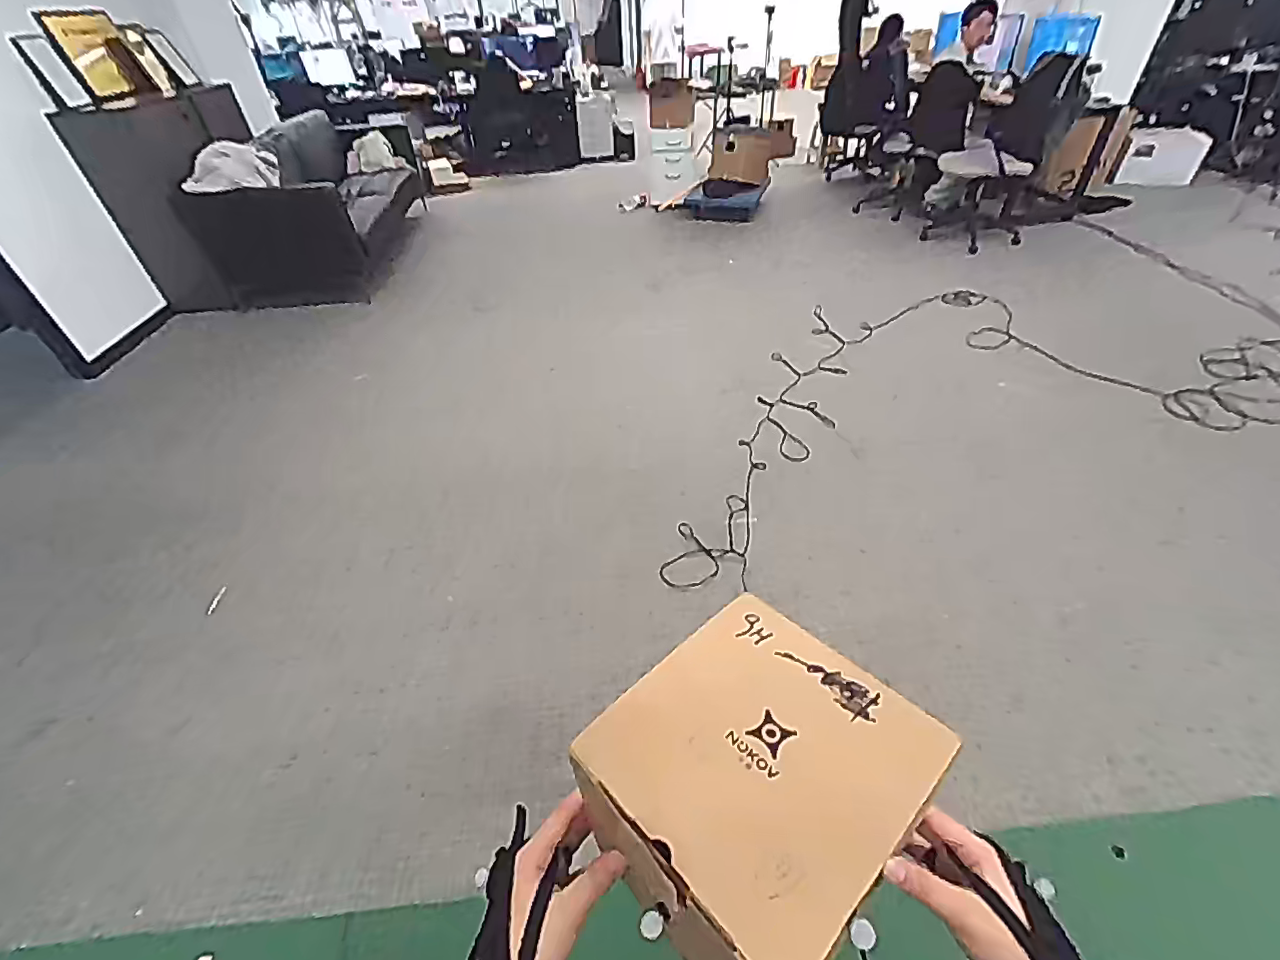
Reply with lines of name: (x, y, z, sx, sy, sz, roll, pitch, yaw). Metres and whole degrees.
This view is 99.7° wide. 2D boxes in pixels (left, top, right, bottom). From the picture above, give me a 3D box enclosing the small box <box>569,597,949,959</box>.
small box: (0.078, 0.226, 0.380, 0.179, 0.176, 0.168, -32, 44, -29)
